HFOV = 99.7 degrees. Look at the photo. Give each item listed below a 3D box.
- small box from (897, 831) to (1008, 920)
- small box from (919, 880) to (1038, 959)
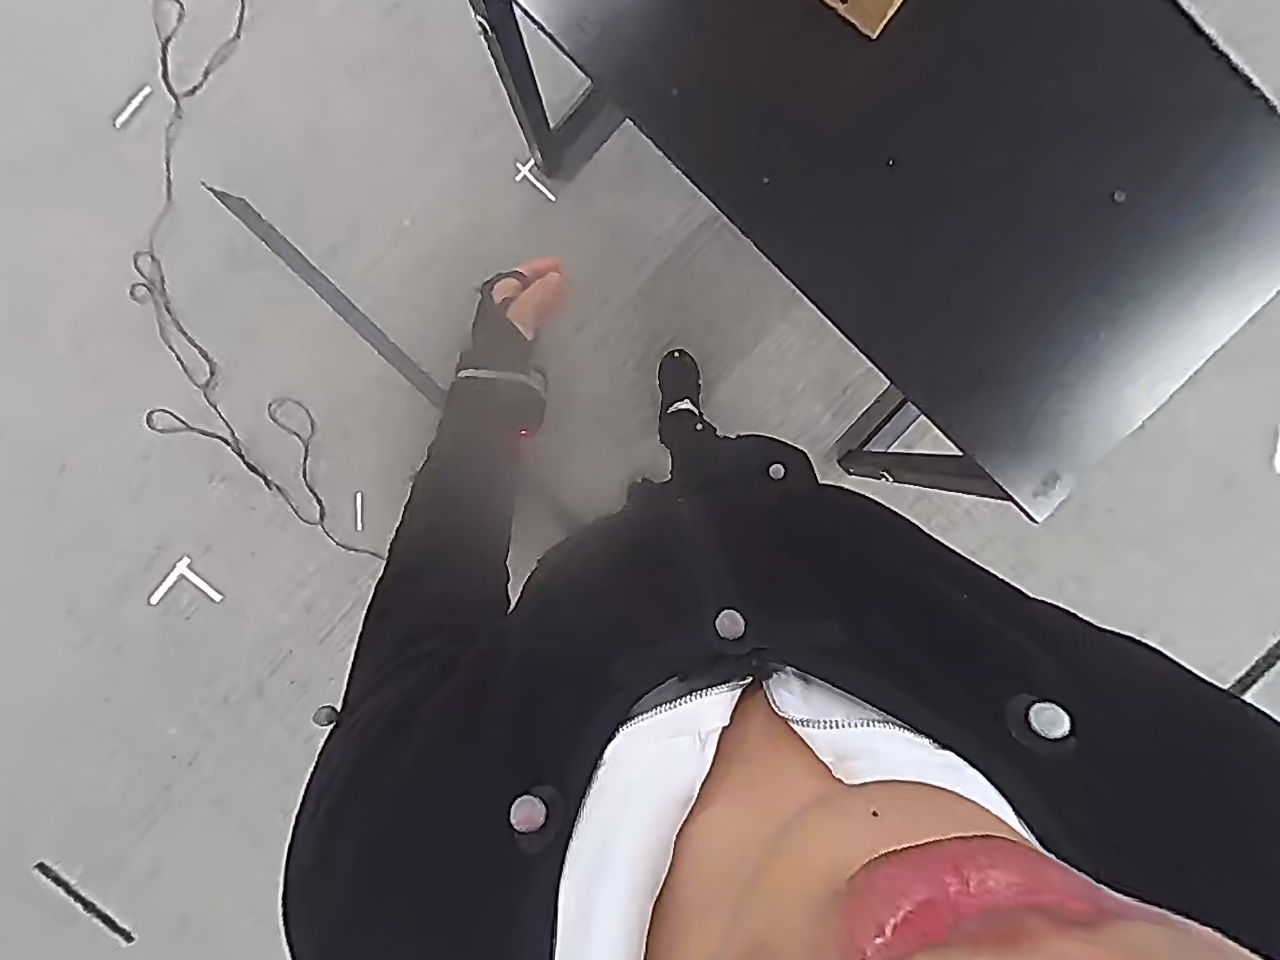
[{"bbox_3d":[0.834,1.119,1.473,0.168,0.176,0.179,43,93,-3],"label":"small box"},{"bbox_3d":[0.827,1.132,1.309,0.179,0.176,0.168,41,94,-3],"label":"small box"}]
